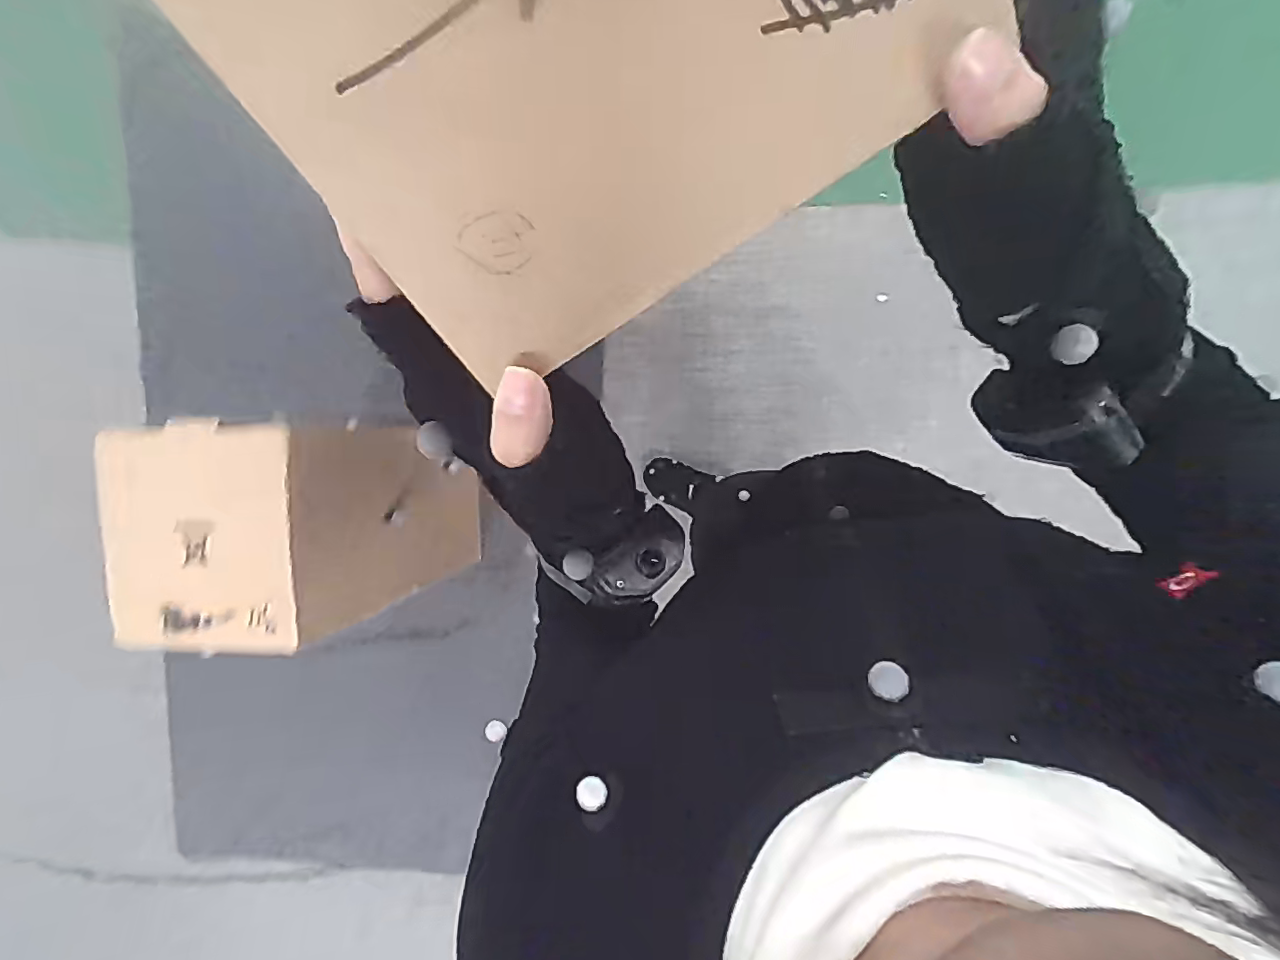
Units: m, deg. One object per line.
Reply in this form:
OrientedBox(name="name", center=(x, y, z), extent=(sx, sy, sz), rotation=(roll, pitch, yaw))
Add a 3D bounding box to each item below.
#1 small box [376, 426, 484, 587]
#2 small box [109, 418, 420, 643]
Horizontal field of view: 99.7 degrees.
OrientedBox(name="small box", center=(-0.307, 0.025, 0.668), extent=(0.168, 0.176, 0.179), rotation=(-2, 95, 9))
OrientedBox(name="small box", center=(-0.330, 0.038, 0.508), extent=(0.168, 0.176, 0.179), rotation=(-4, 94, 7))
